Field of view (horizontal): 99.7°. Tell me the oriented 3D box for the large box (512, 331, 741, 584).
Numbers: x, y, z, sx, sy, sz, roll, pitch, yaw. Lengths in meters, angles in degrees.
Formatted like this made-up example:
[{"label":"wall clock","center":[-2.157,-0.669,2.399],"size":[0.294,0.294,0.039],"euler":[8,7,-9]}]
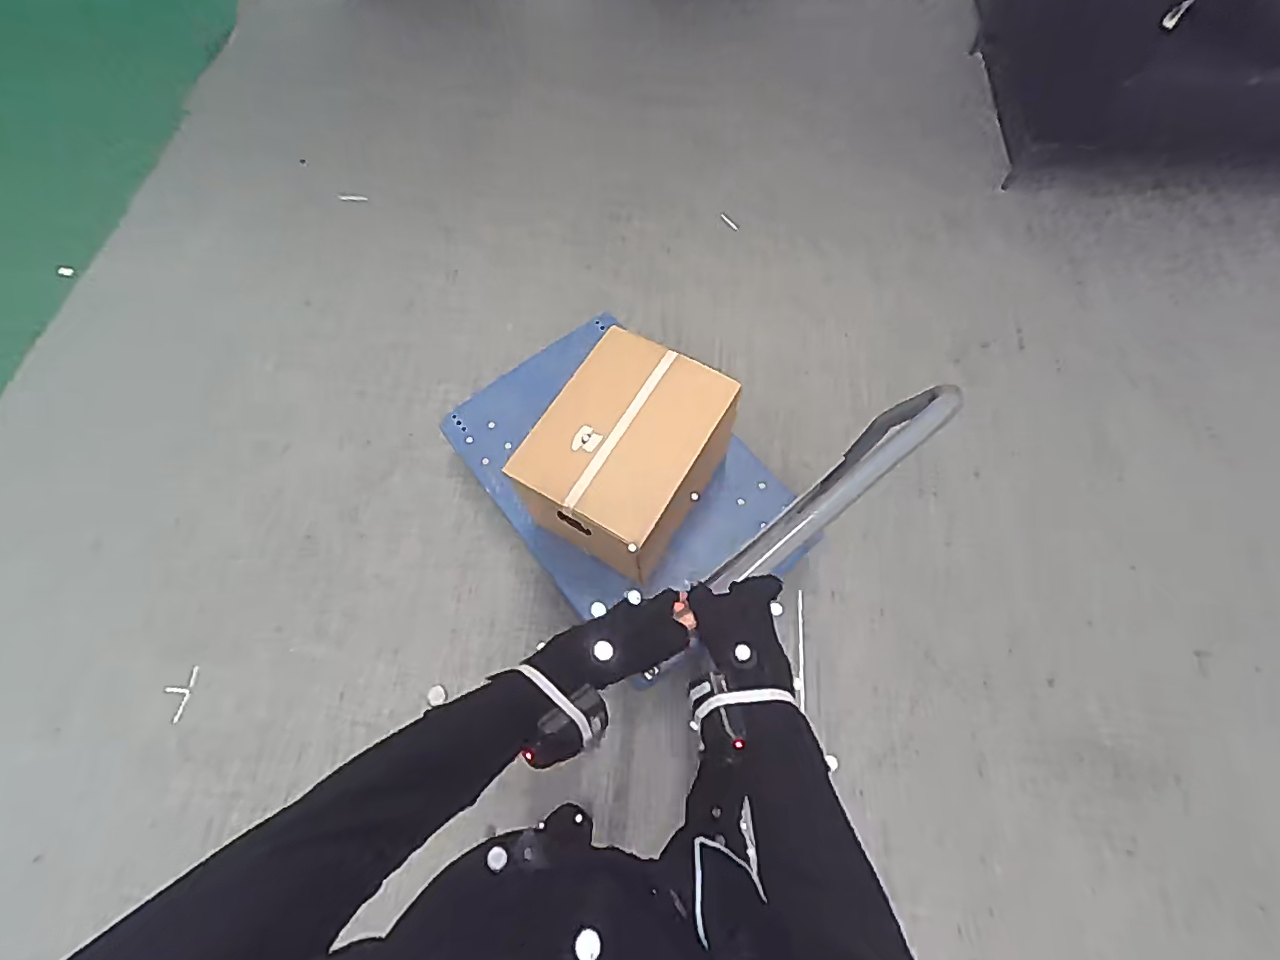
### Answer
[{"label":"large box","center":[-0.014,-0.040,1.205],"size":[0.320,0.320,0.408],"euler":[28,71,14]}]
